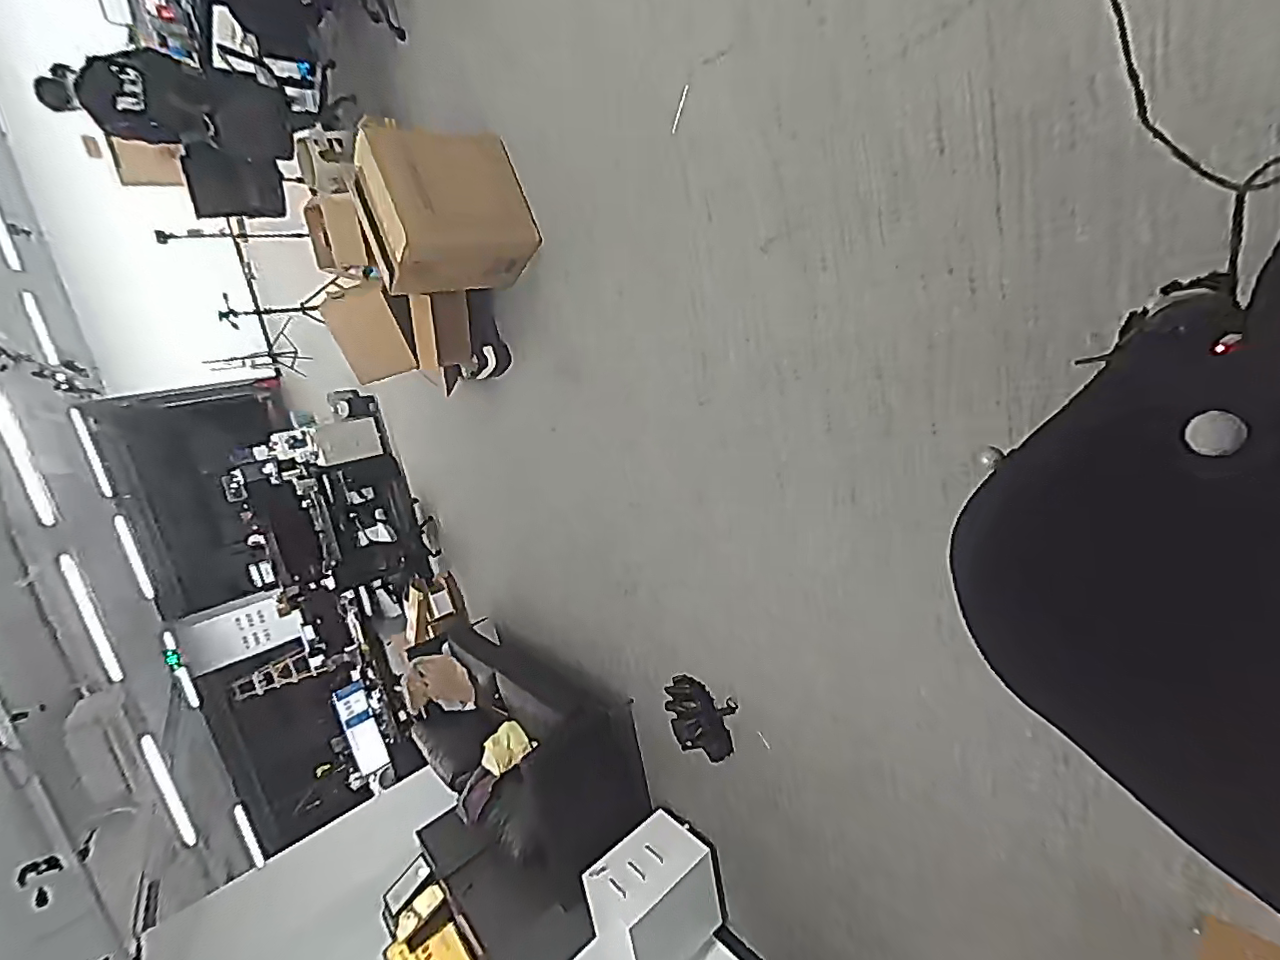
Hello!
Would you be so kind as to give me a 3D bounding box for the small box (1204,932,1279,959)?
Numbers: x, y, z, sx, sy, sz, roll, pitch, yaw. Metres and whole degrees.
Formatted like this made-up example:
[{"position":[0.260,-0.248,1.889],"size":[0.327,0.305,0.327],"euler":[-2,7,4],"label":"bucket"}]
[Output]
[{"position":[1.321,1.123,1.145],"size":[0.179,0.176,0.168],"euler":[2,108,50],"label":"small box"}]
